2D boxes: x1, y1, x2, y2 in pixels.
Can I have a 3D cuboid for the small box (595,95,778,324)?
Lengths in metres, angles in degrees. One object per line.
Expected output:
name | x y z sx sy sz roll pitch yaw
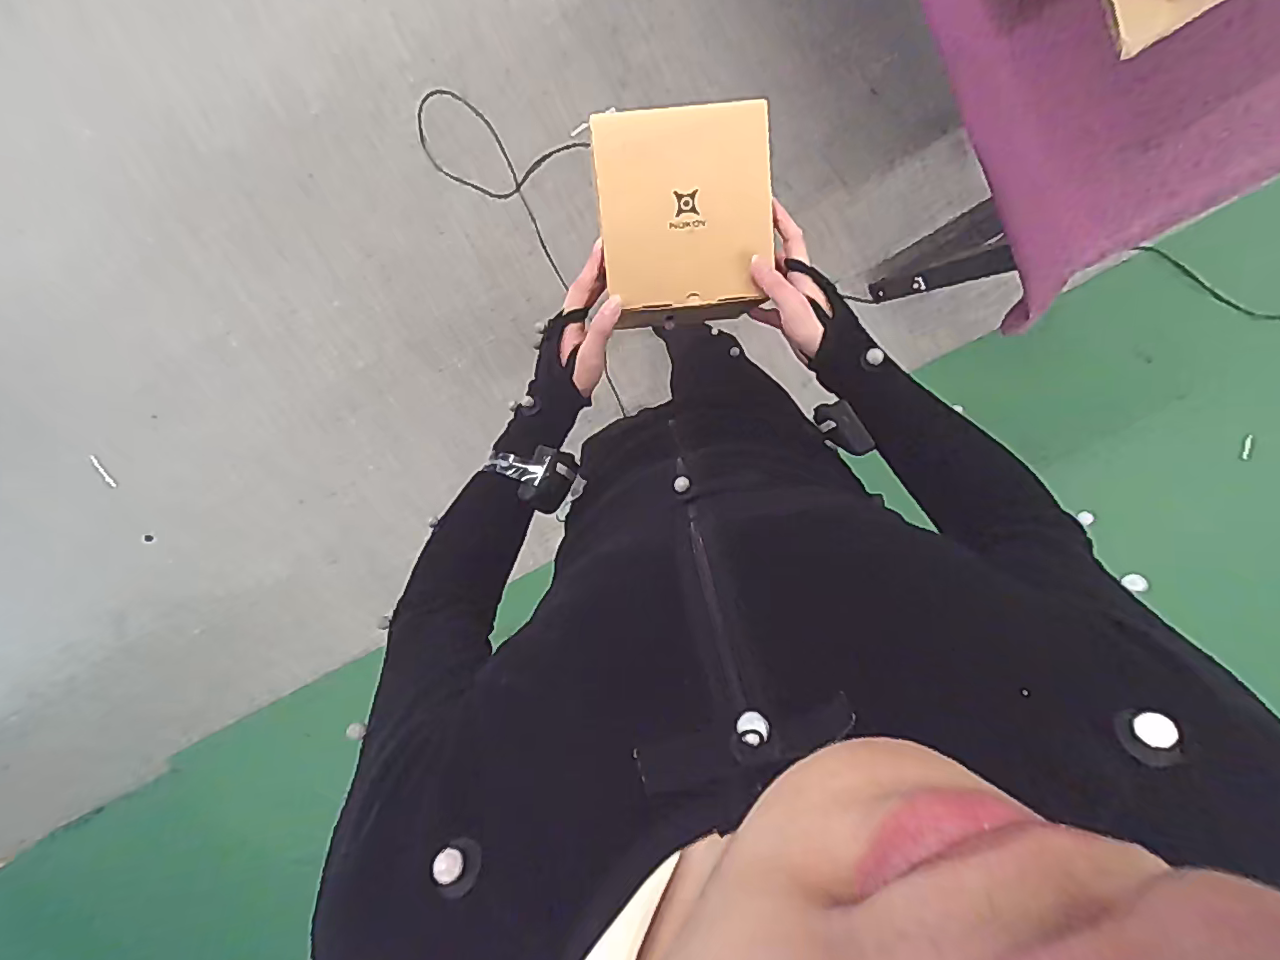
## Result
small box | 0.041 -0.272 0.580 0.168 0.176 0.179 -6 102 -2
